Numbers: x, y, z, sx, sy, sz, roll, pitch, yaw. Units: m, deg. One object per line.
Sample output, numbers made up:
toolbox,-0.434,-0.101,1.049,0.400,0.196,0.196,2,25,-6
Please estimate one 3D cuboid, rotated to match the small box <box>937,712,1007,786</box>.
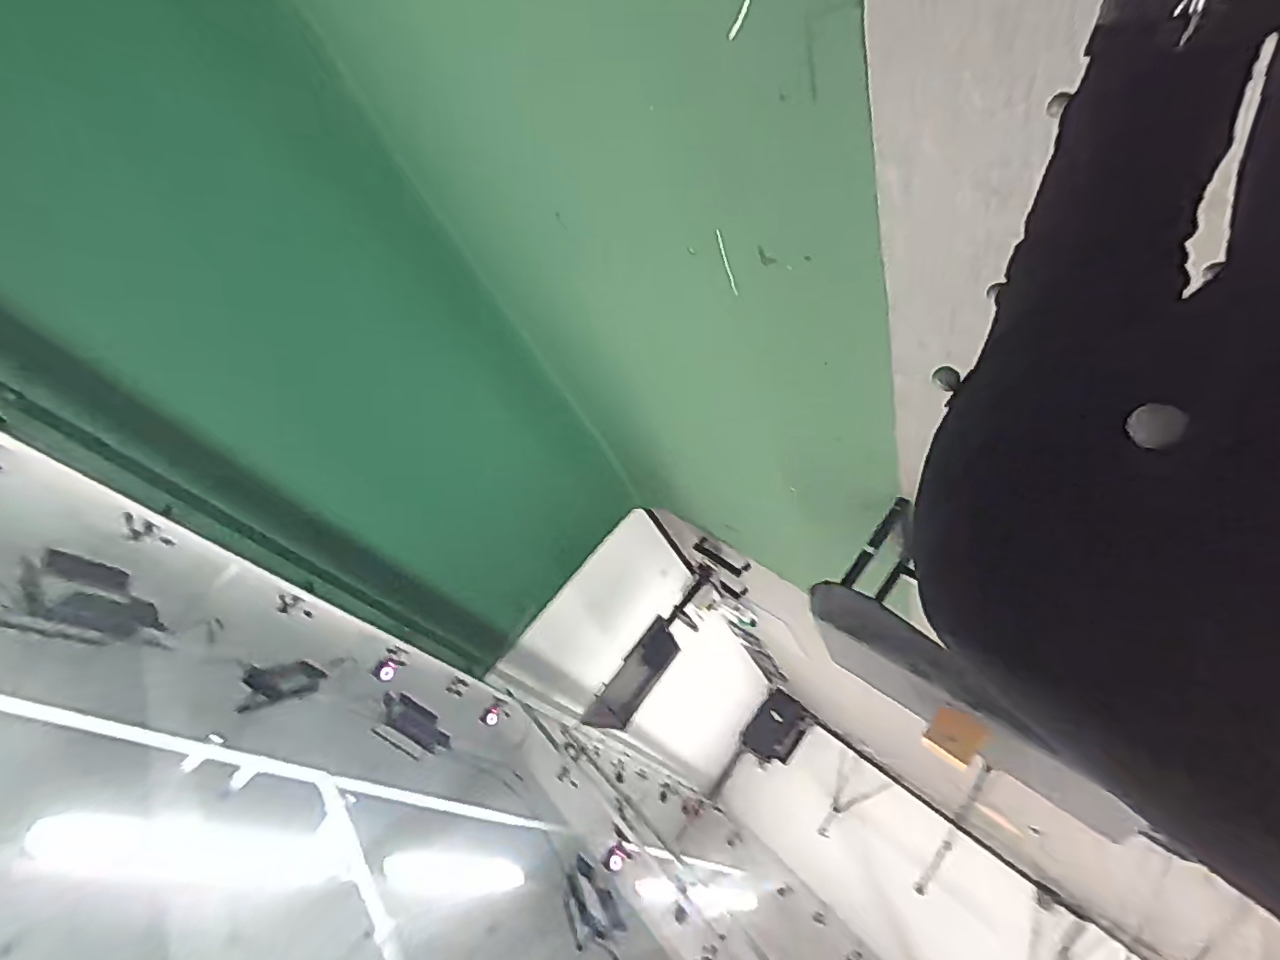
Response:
small box,1.266,1.026,2.065,0.179,0.176,0.168,32,163,42
